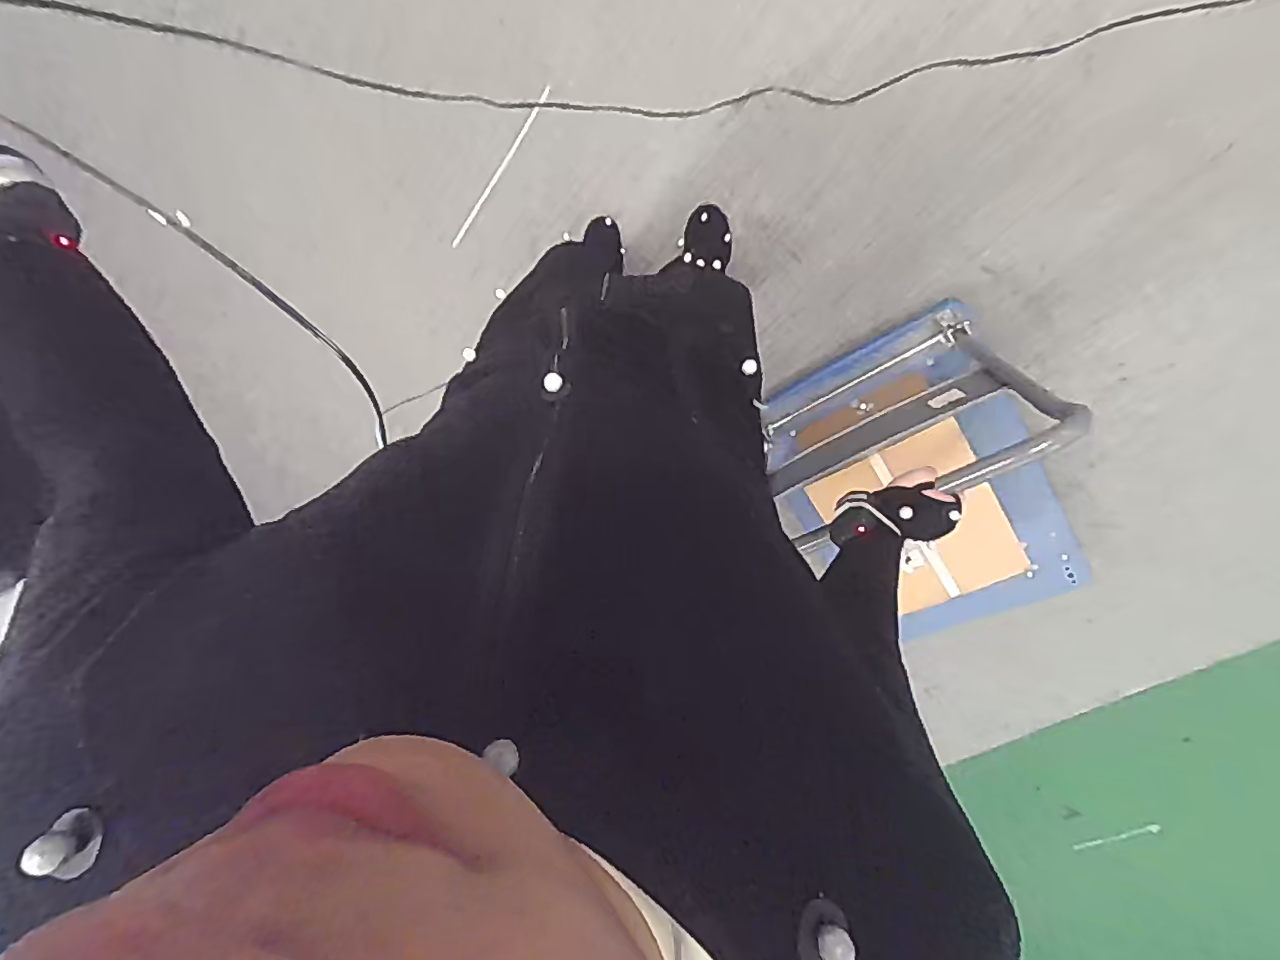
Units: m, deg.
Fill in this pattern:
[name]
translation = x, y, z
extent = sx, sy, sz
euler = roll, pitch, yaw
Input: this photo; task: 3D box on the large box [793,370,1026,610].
[large box]
translation = 0.603, 0.018, 1.274
extent = 0.320, 0.320, 0.408
euler = -29, 108, 25
